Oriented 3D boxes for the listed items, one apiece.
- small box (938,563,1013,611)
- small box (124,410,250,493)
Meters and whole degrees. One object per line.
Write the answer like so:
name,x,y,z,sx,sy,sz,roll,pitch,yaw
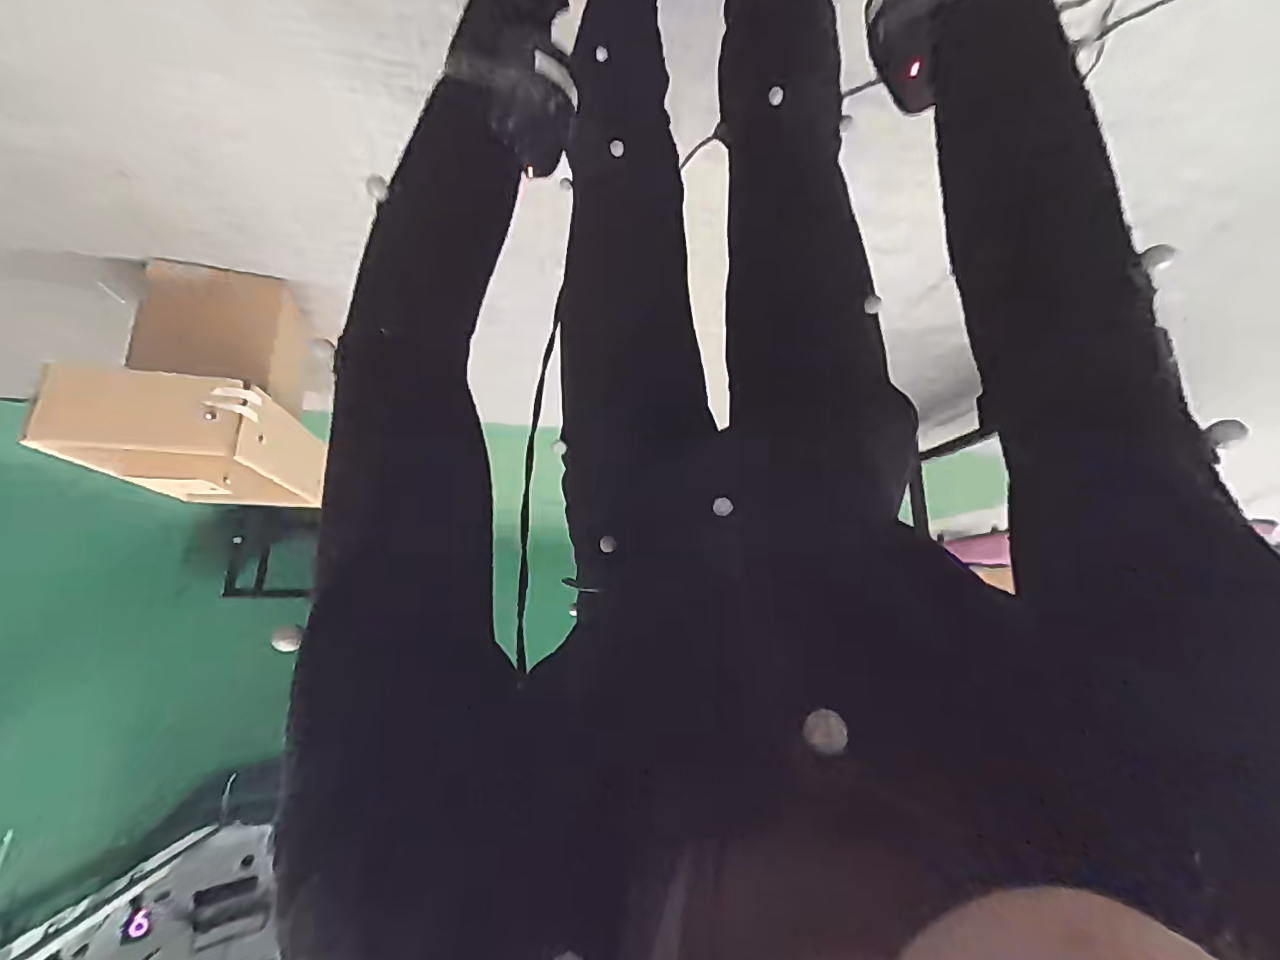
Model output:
small box,1.255,0.403,2.034,0.179,0.176,0.168,3,168,-14
small box,-1.106,-0.068,1.338,0.179,0.176,0.168,3,169,-12
